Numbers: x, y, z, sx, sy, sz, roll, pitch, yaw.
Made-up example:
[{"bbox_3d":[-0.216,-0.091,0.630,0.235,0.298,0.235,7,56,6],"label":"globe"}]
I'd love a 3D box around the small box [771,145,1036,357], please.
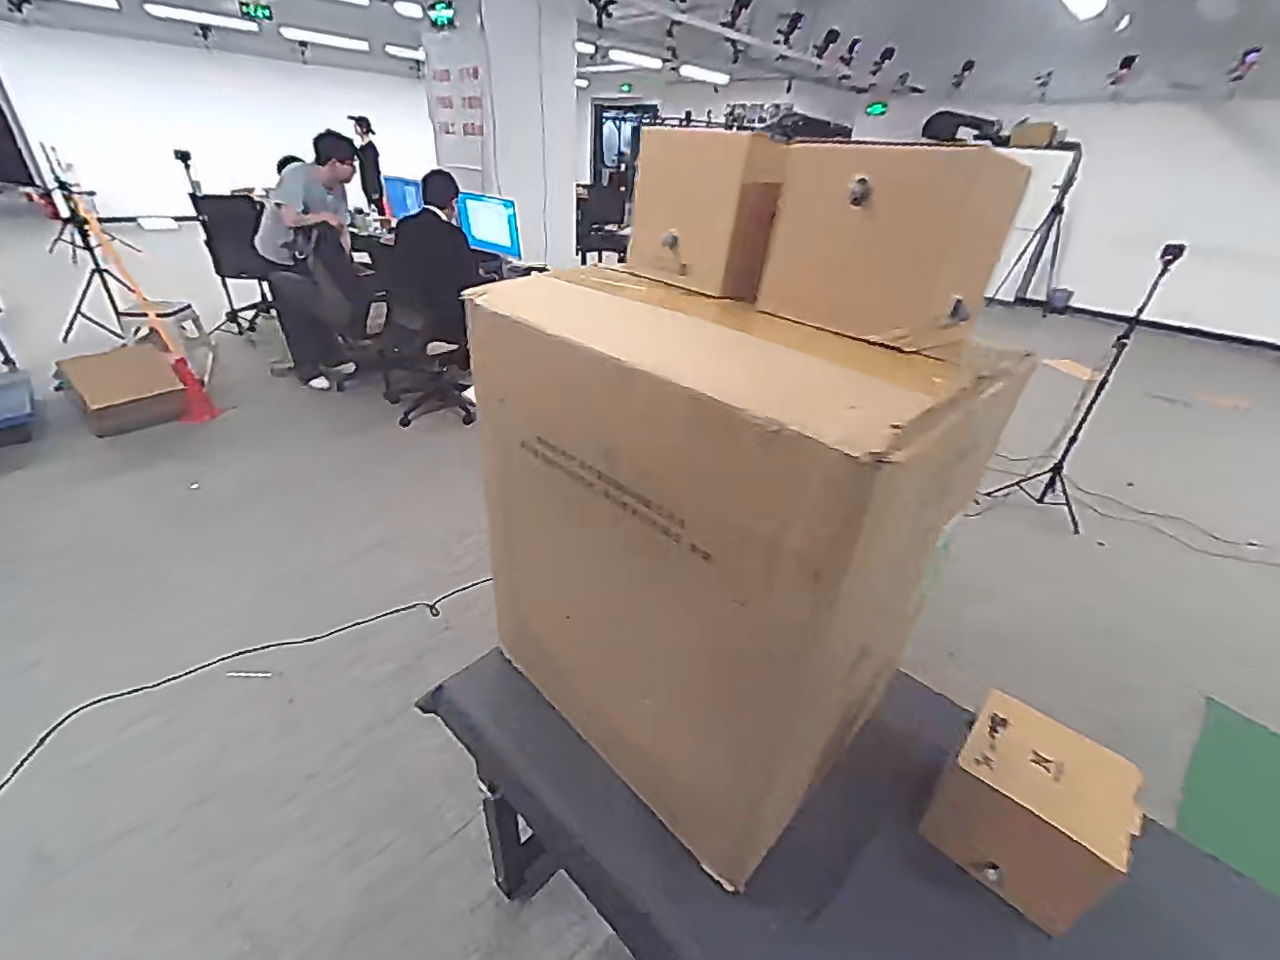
[{"bbox_3d":[0.263,-0.237,0.567,0.168,0.176,0.179,-21,40,-41],"label":"small box"}]

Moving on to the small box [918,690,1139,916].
[{"bbox_3d":[0.512,0.433,0.727,0.179,0.176,0.168,28,38,35],"label":"small box"}]
